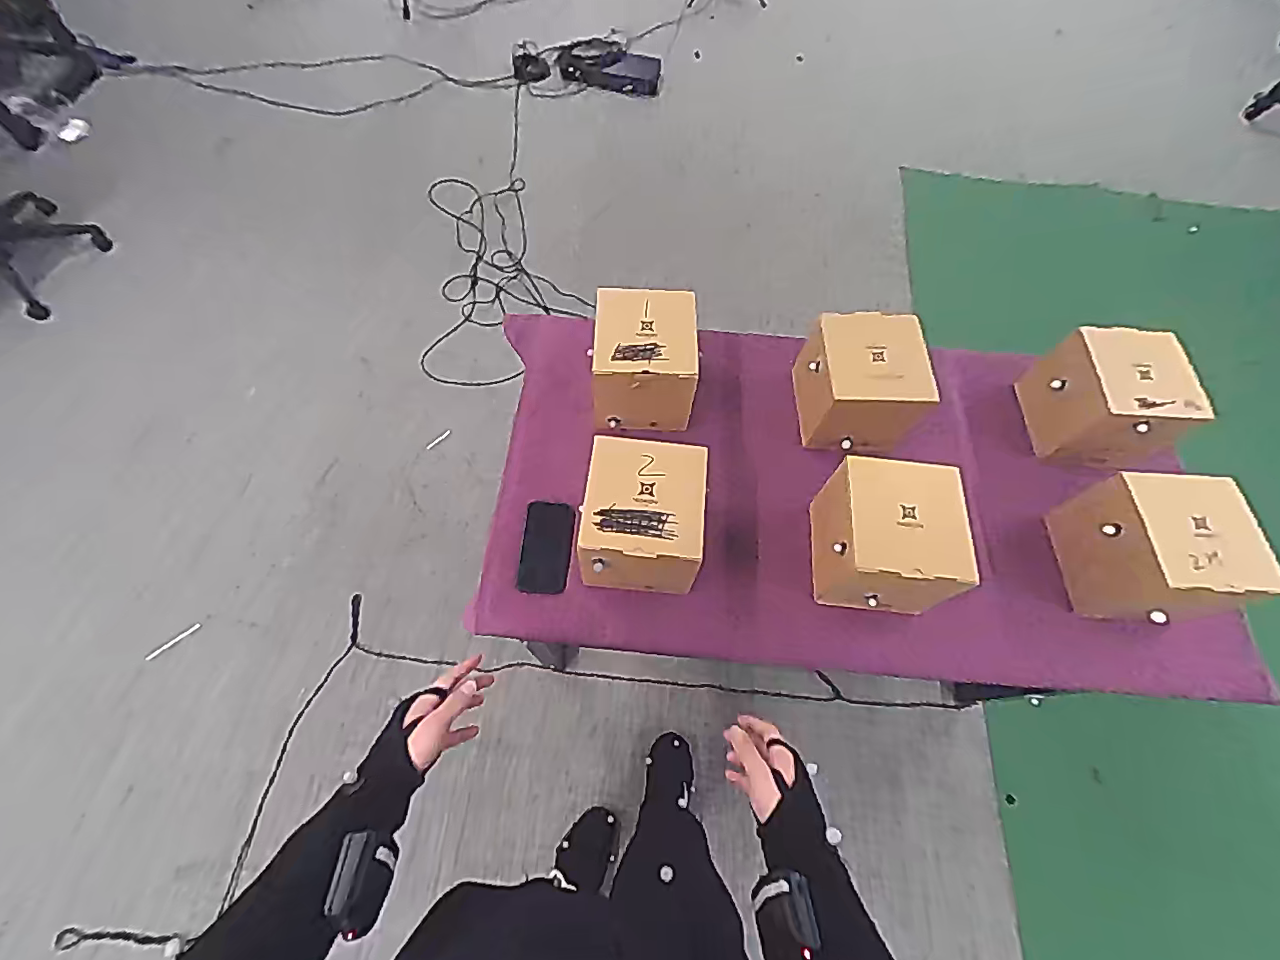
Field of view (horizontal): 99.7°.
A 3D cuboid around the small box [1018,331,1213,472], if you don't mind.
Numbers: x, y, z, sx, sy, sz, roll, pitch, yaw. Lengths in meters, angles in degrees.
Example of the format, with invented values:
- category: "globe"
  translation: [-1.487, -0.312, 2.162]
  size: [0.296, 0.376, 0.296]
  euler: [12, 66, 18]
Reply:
- category: "small box"
  translation: [0.804, -0.133, 0.941]
  size: [0.168, 0.176, 0.179]
  euler: [3, 63, 0]

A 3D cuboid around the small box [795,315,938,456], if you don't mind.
- category: "small box"
  translation: [0.376, -0.160, 0.937]
  size: [0.168, 0.176, 0.179]
  euler: [2, 64, -1]

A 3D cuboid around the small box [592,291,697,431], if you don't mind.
- category: "small box"
  translation: [0.007, -0.199, 0.937]
  size: [0.168, 0.176, 0.179]
  euler: [2, 63, -2]

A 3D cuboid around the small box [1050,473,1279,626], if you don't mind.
- category: "small box"
  translation: [0.771, 0.109, 0.816]
  size: [0.168, 0.176, 0.179]
  euler: [3, 63, 0]

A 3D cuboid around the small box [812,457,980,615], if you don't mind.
- category: "small box"
  translation: [0.366, 0.089, 0.811]
  size: [0.168, 0.176, 0.179]
  euler: [6, 63, 0]
